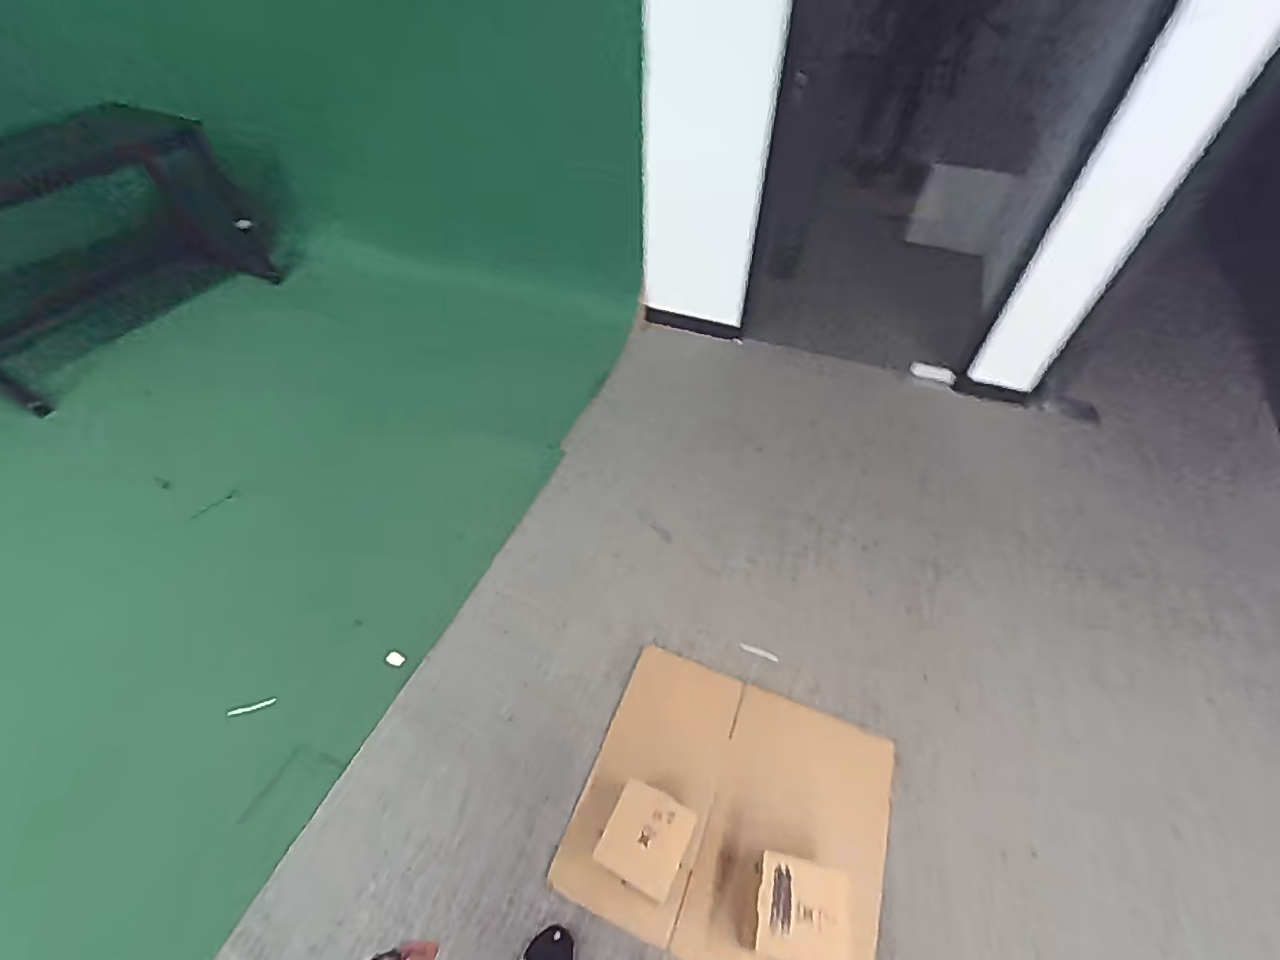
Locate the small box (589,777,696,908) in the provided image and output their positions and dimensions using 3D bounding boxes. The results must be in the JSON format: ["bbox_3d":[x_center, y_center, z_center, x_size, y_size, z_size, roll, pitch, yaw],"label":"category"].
[{"bbox_3d":[0.008,0.789,1.174,0.168,0.176,0.179,23,53,17],"label":"small box"}]
